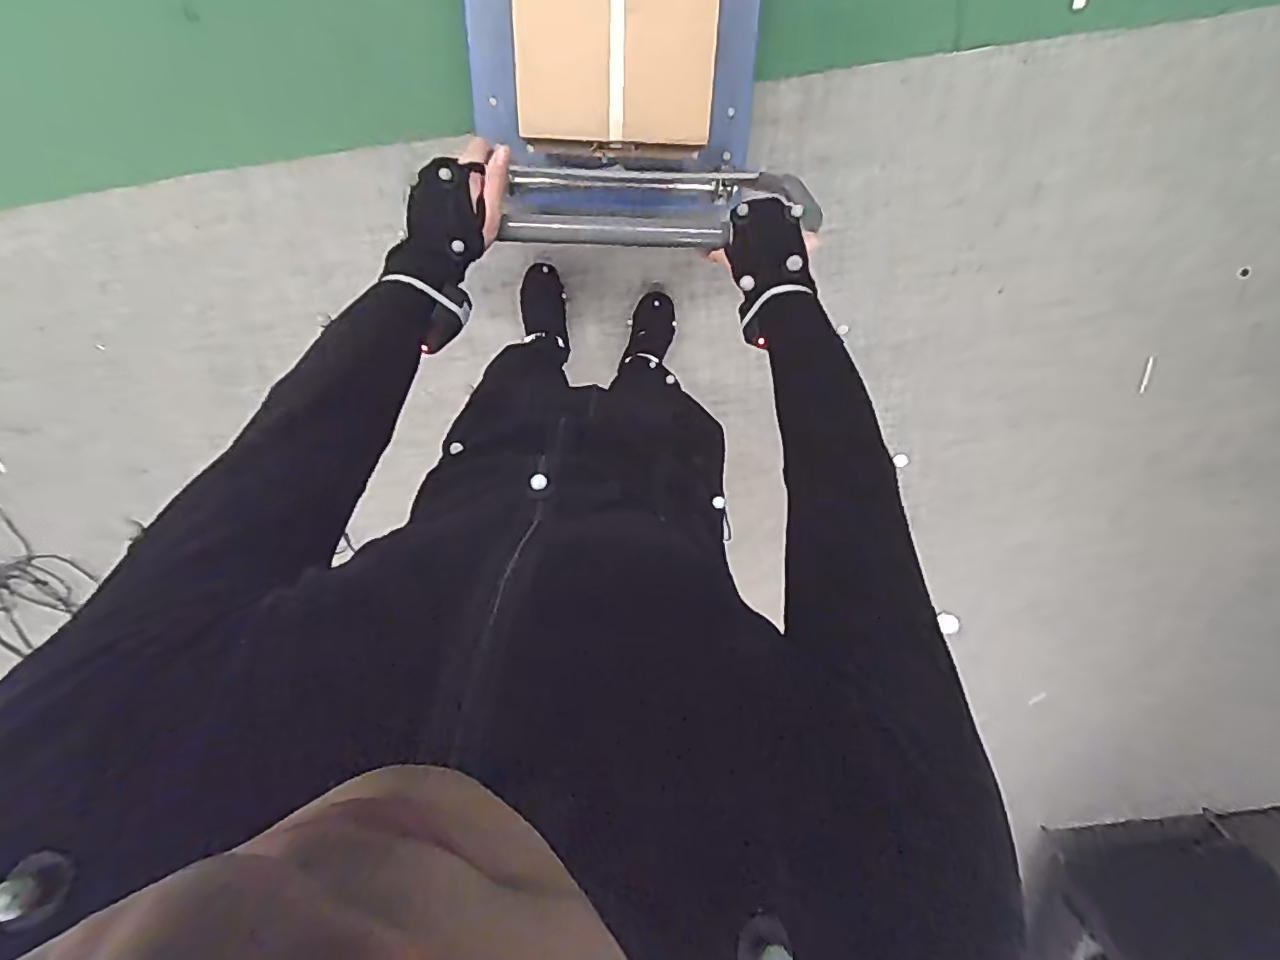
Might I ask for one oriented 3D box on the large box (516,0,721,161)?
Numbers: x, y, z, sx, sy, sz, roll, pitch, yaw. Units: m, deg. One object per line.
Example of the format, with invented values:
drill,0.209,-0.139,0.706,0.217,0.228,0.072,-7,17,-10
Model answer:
large box,-0.035,-0.796,0.935,0.320,0.320,0.408,0,116,-3
